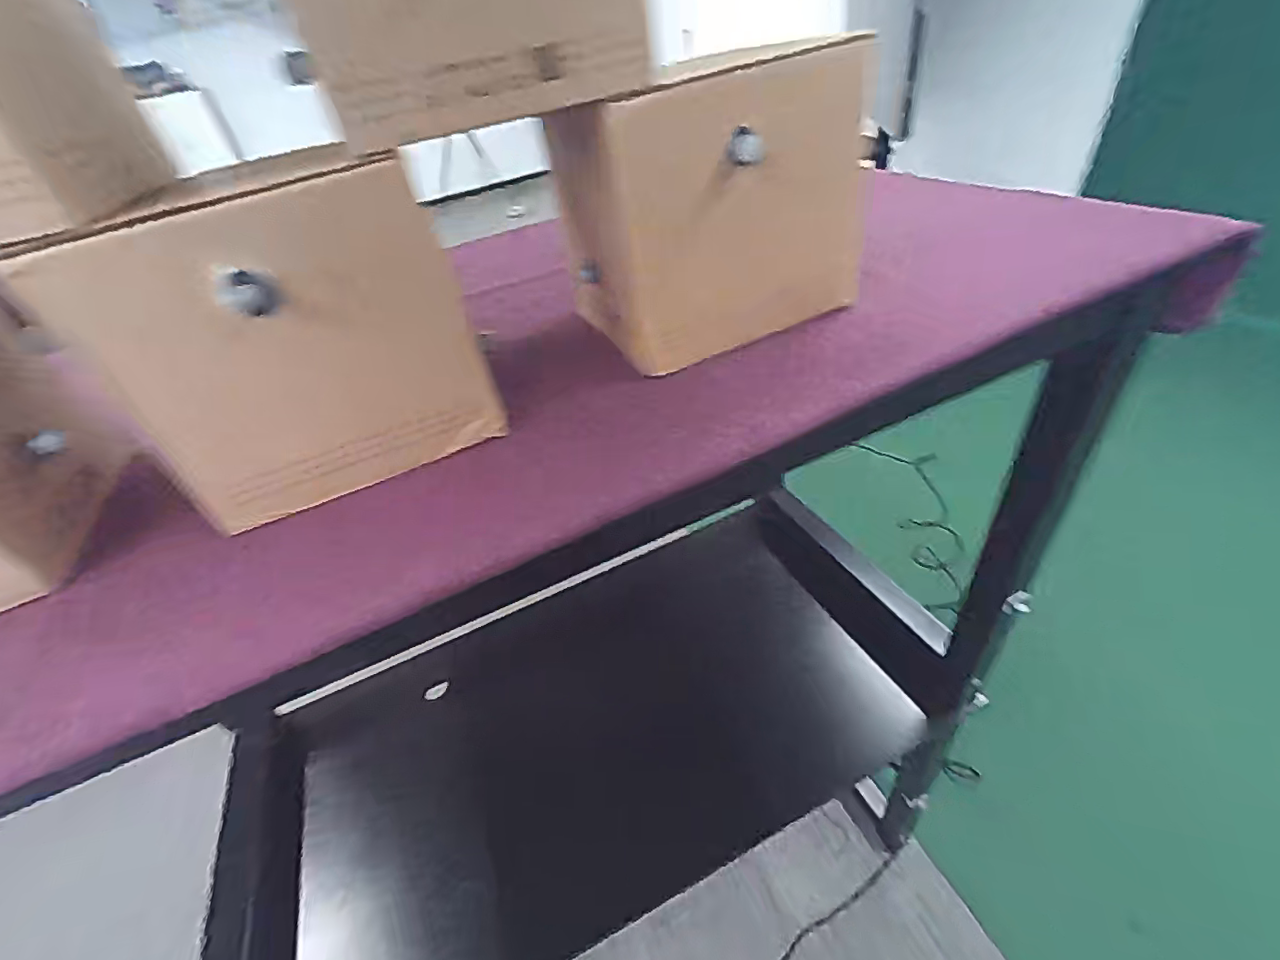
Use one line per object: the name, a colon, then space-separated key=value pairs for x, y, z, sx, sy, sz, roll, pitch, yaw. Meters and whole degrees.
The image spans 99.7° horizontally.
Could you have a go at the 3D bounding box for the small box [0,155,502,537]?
small box: x=-0.212 y=-0.092 z=0.351 sx=0.179 sy=0.176 sz=0.168 roll=-22 pitch=40 yaw=-13

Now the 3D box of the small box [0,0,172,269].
small box: x=-0.358 y=-0.177 z=0.230 sx=0.168 sy=0.176 sz=0.179 roll=-21 pitch=39 yaw=-11

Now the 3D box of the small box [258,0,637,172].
small box: x=-0.115 y=-0.277 z=0.287 sx=0.168 sy=0.176 sz=0.179 roll=-23 pitch=41 yaw=-13

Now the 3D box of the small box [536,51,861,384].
small box: x=0.037 y=-0.200 z=0.413 sx=0.179 sy=0.176 sz=0.168 roll=-24 pitch=40 yaw=-11
